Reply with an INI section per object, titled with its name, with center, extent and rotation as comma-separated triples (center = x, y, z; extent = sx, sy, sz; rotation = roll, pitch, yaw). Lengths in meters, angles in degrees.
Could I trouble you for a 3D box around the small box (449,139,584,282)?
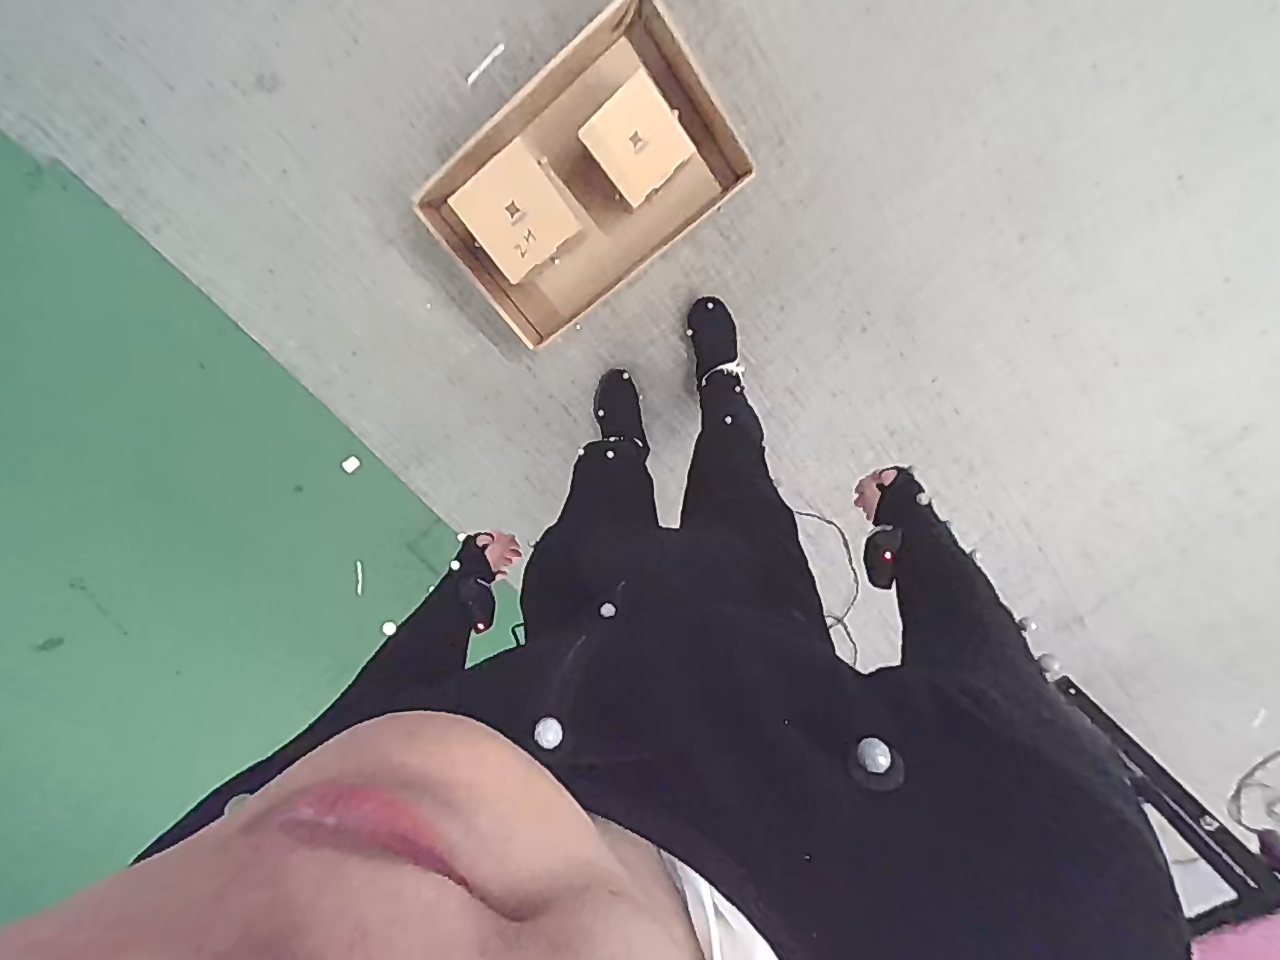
[small box]
center = -0.222, -0.497, 1.025
extent = 0.168, 0.176, 0.179
rotation = -34, 109, 11
